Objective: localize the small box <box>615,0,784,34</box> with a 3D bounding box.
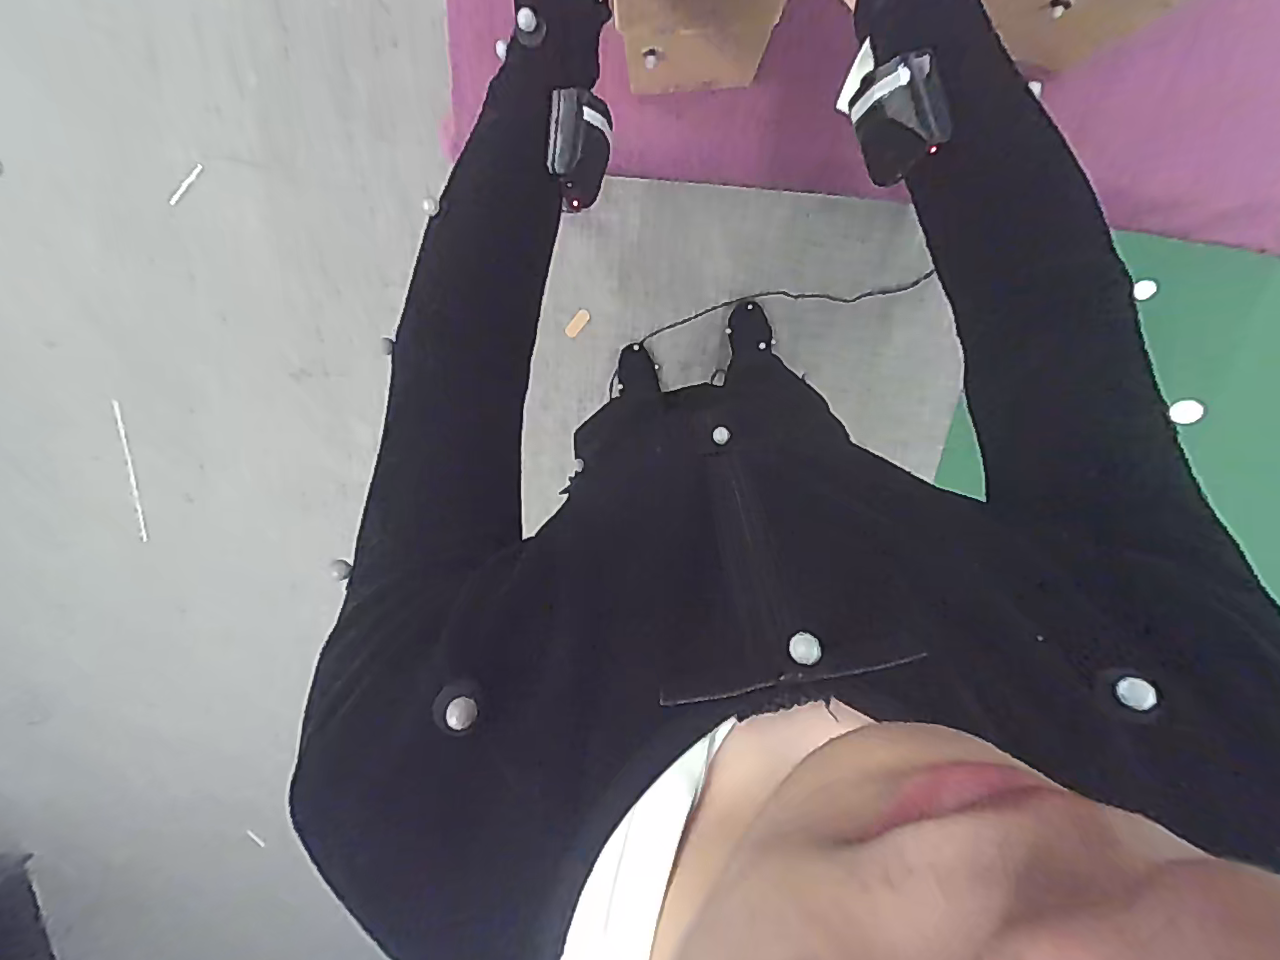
[{"bbox_3d":[0.060,-0.539,0.486,0.179,0.176,0.168,-1,107,2],"label":"small box"}]
